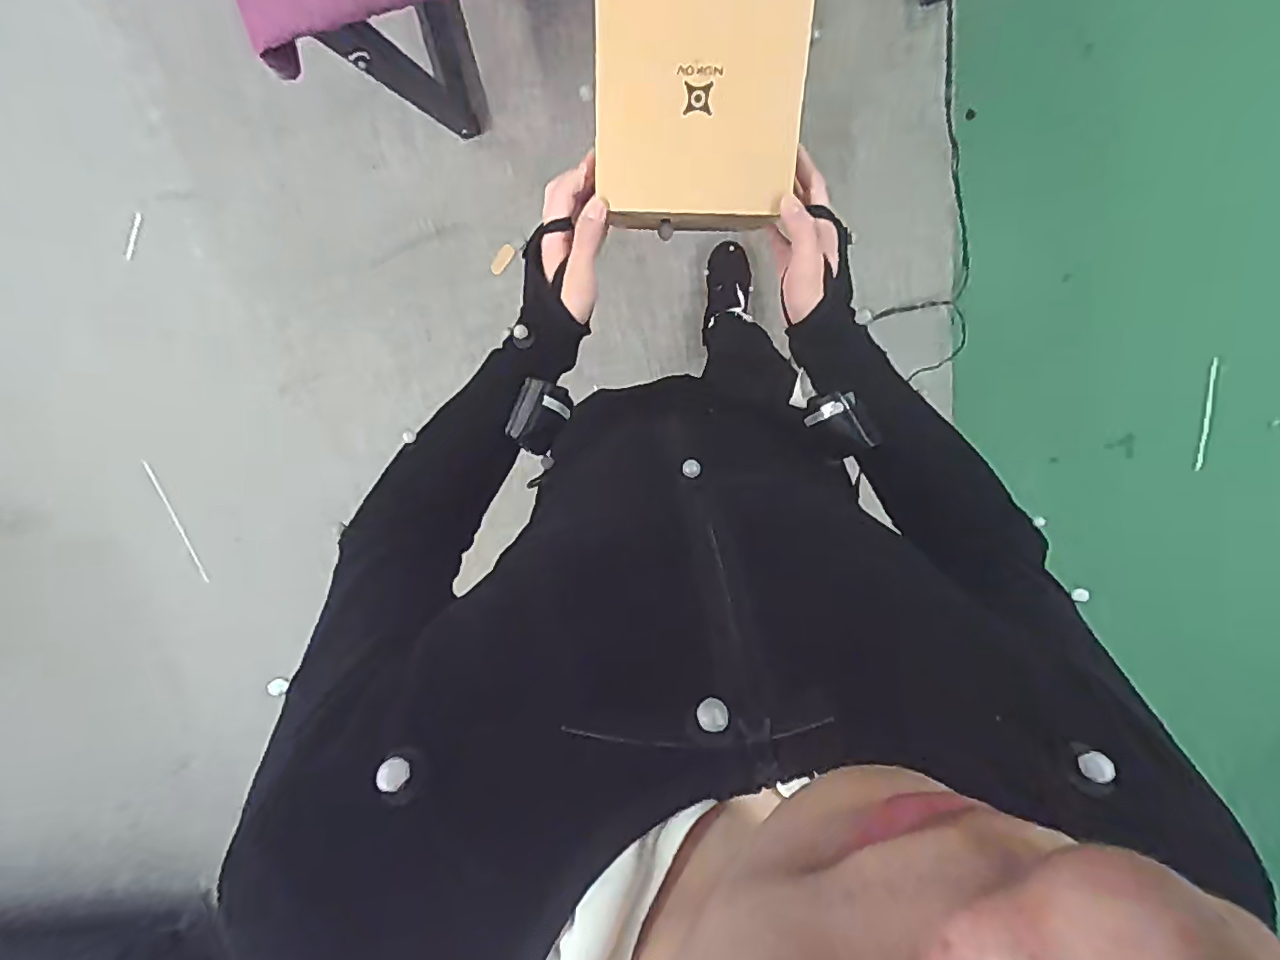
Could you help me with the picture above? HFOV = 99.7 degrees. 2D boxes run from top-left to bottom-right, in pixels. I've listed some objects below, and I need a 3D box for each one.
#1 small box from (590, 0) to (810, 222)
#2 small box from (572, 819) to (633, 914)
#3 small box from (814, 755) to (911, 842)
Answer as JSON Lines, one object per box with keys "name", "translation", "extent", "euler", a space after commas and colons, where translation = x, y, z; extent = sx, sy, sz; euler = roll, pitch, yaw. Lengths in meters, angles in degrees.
{"name": "small box", "translation": [0.048, -0.340, 0.493], "extent": [0.168, 0.176, 0.179], "euler": [2, 109, 2]}
{"name": "small box", "translation": [-0.113, 1.180, 1.661], "extent": [0.168, 0.176, 0.179], "euler": [1, 108, 5]}
{"name": "small box", "translation": [0.610, 0.920, 1.512], "extent": [0.179, 0.176, 0.168], "euler": [-42, 101, 16]}
